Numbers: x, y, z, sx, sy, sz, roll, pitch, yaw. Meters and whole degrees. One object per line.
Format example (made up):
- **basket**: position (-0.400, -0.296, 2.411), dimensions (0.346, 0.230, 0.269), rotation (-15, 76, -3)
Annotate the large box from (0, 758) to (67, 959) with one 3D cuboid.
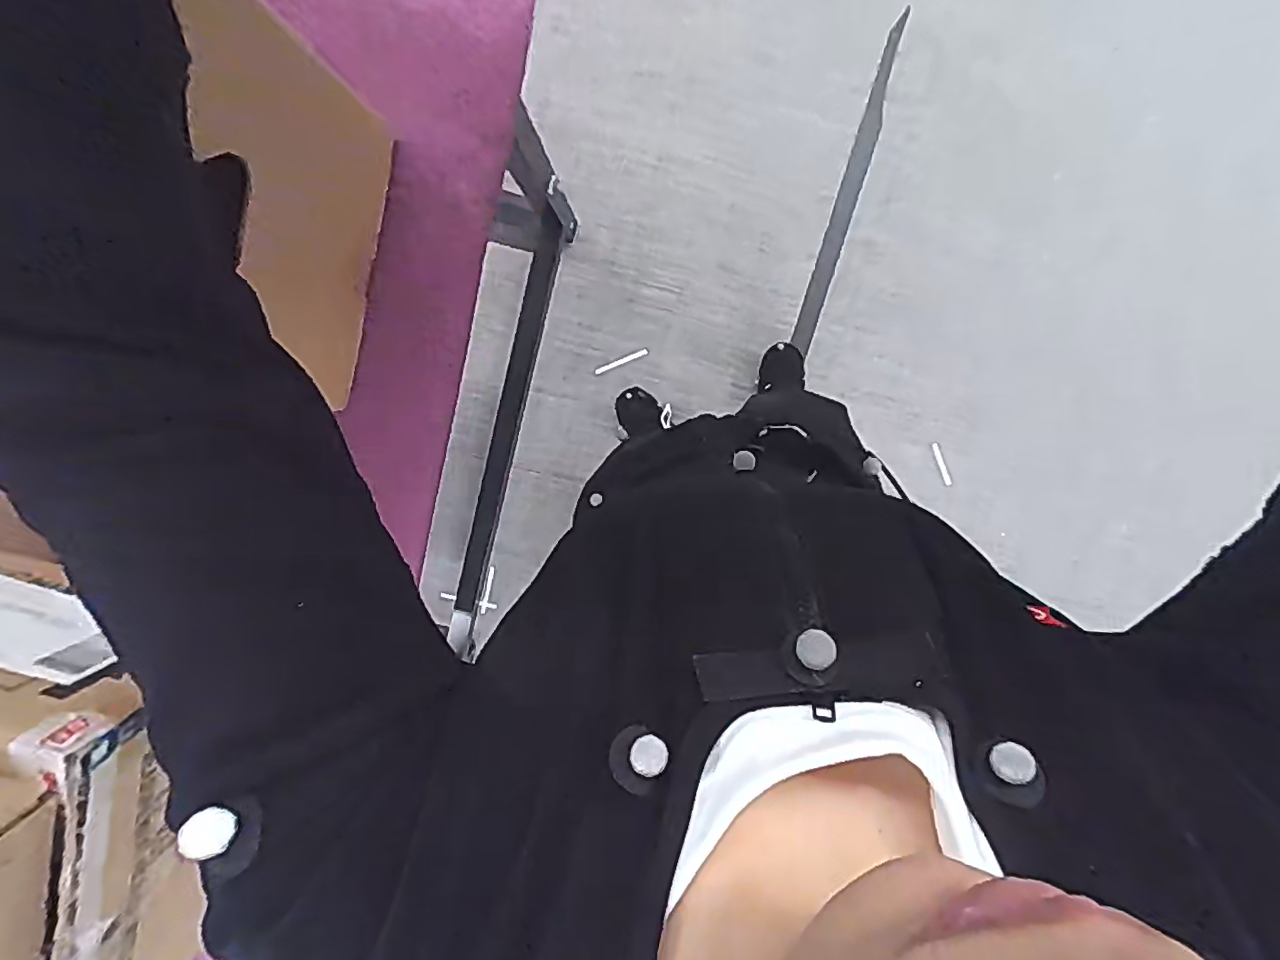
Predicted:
- **large box**: position (-0.619, 0.322, 0.240), dimensions (0.408, 0.320, 0.320), rotation (14, 101, -3)
